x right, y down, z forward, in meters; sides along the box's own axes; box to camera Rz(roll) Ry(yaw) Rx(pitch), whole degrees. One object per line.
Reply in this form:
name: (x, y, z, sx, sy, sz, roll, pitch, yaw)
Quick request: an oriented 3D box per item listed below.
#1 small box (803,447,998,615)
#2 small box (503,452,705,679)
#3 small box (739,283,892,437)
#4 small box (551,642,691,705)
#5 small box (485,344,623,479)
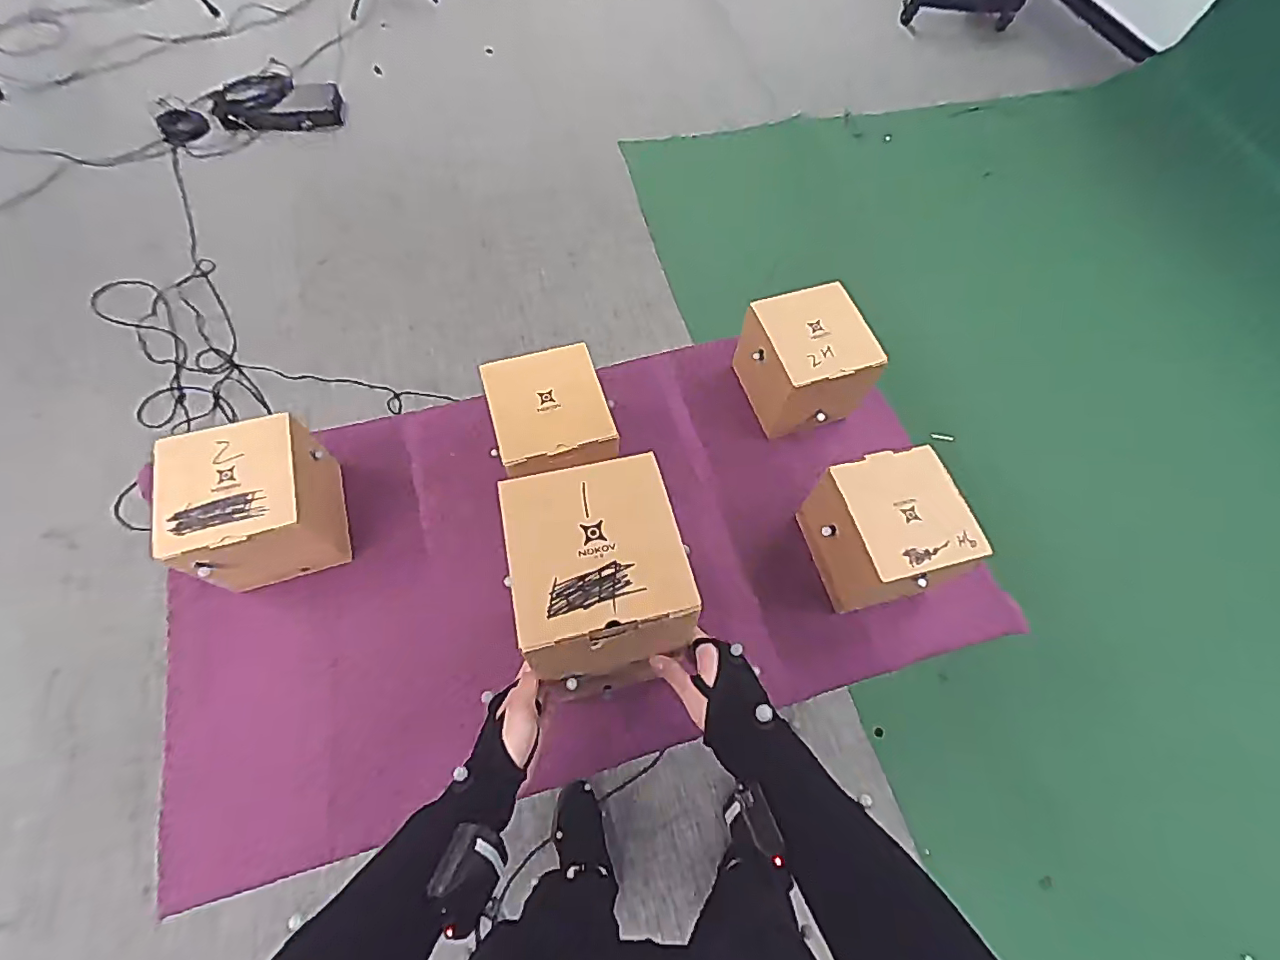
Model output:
small box: (0.364, 0.079, 0.799, 0.168, 0.176, 0.179, -12, 63, -8)
small box: (-0.040, 0.099, 0.574, 0.168, 0.176, 0.179, -11, 58, -9)
small box: (0.285, -0.201, 0.928, 0.168, 0.176, 0.179, -16, 67, -8)
small box: (-0.043, 0.179, 0.719, 0.168, 0.176, 0.179, -11, 60, -9)
small box: (-0.134, -0.080, 0.848, 0.168, 0.176, 0.179, -15, 67, -11)
